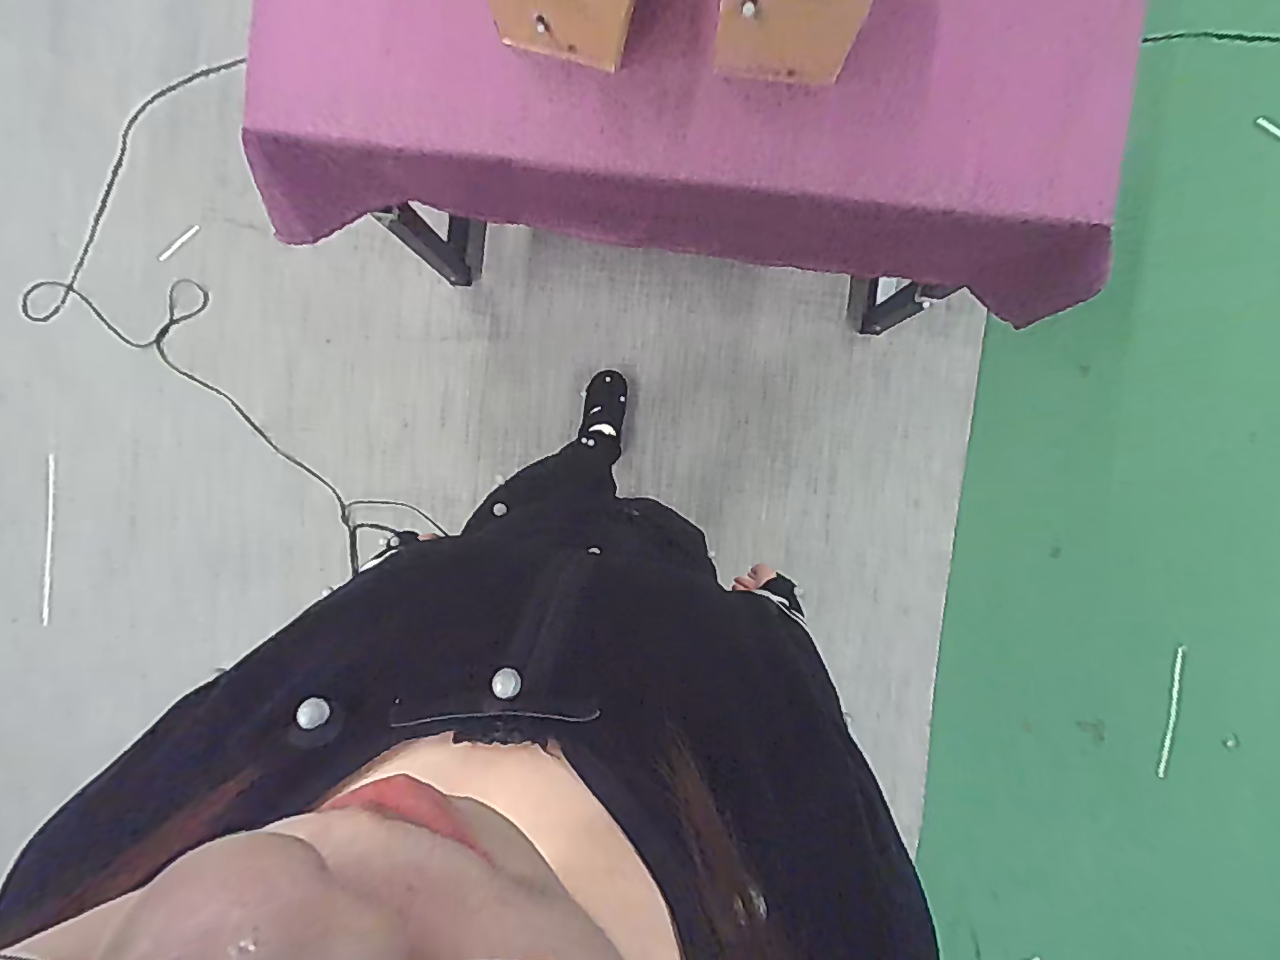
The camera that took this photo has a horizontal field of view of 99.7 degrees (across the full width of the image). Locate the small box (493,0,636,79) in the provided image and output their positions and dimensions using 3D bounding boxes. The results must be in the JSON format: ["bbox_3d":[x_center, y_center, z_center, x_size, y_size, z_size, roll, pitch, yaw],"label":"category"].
[{"bbox_3d":[-0.092,-0.662,0.675,0.168,0.176,0.179,15,93,0],"label":"small box"}]
